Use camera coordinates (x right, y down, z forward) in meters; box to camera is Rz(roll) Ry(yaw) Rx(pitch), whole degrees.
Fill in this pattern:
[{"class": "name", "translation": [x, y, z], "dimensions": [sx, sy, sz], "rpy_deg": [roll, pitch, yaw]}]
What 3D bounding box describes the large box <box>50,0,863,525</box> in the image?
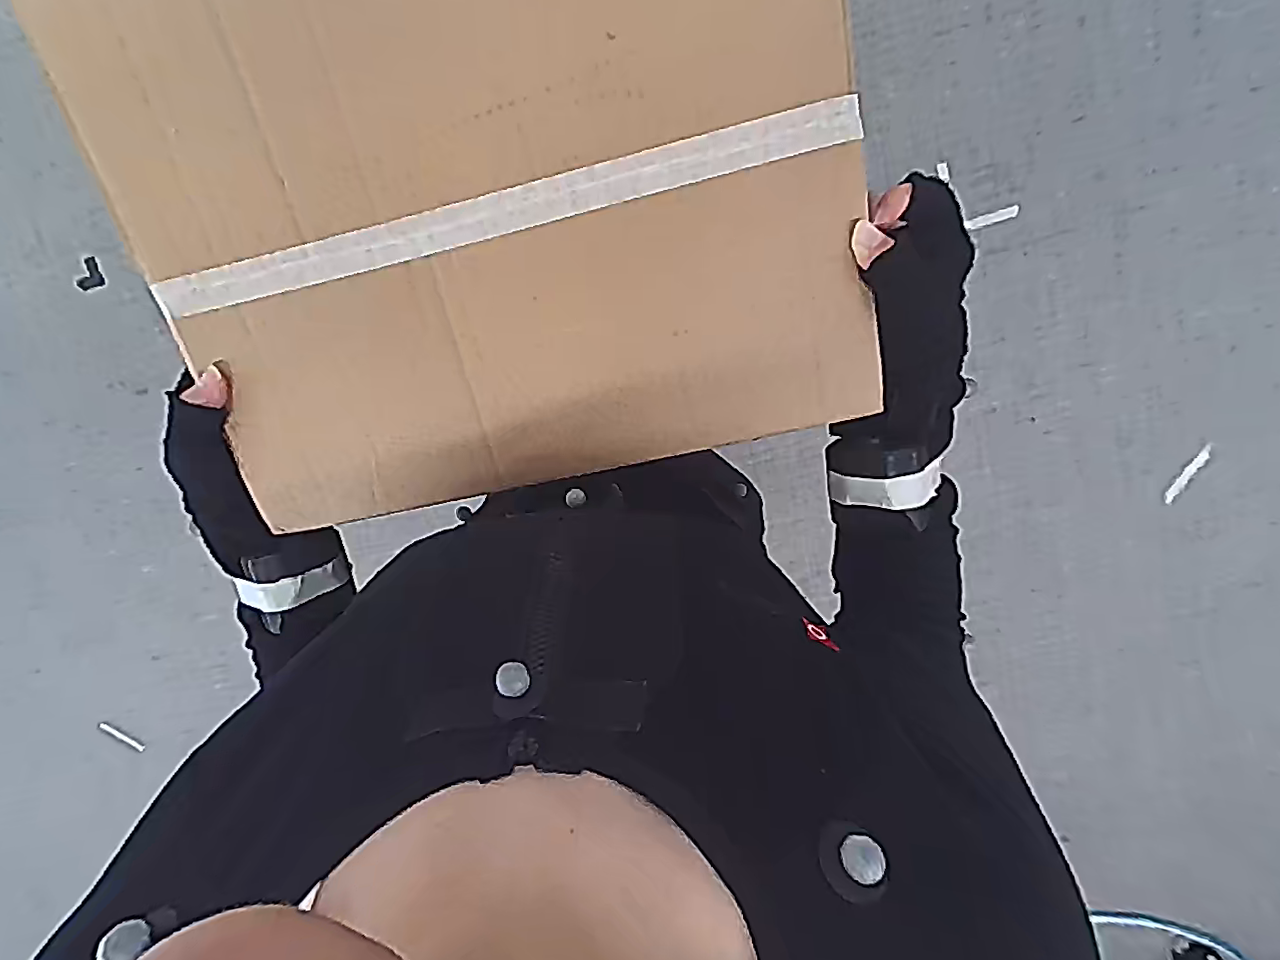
[{"class": "large box", "translation": [-0.080, -0.199, 0.449], "dimensions": [0.408, 0.320, 0.320], "rpy_deg": [-11, 108, 6]}]
